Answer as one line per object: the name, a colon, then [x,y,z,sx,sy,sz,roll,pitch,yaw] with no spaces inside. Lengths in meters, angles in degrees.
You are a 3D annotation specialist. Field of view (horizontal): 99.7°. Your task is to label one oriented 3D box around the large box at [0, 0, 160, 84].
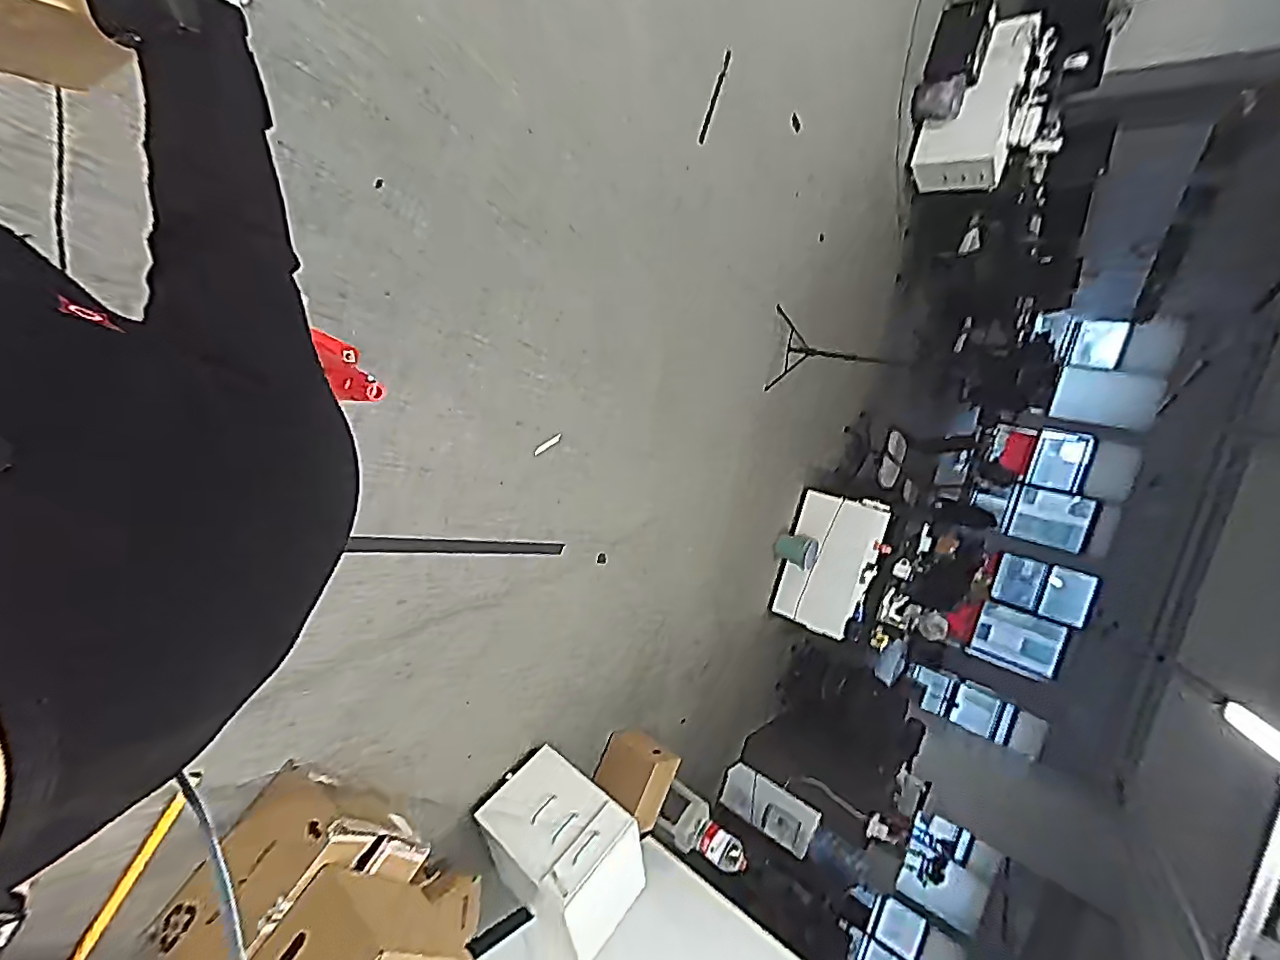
large box: [-0.555,-0.461,0.263,0.408,0.320,0.320,-15,119,-50]
